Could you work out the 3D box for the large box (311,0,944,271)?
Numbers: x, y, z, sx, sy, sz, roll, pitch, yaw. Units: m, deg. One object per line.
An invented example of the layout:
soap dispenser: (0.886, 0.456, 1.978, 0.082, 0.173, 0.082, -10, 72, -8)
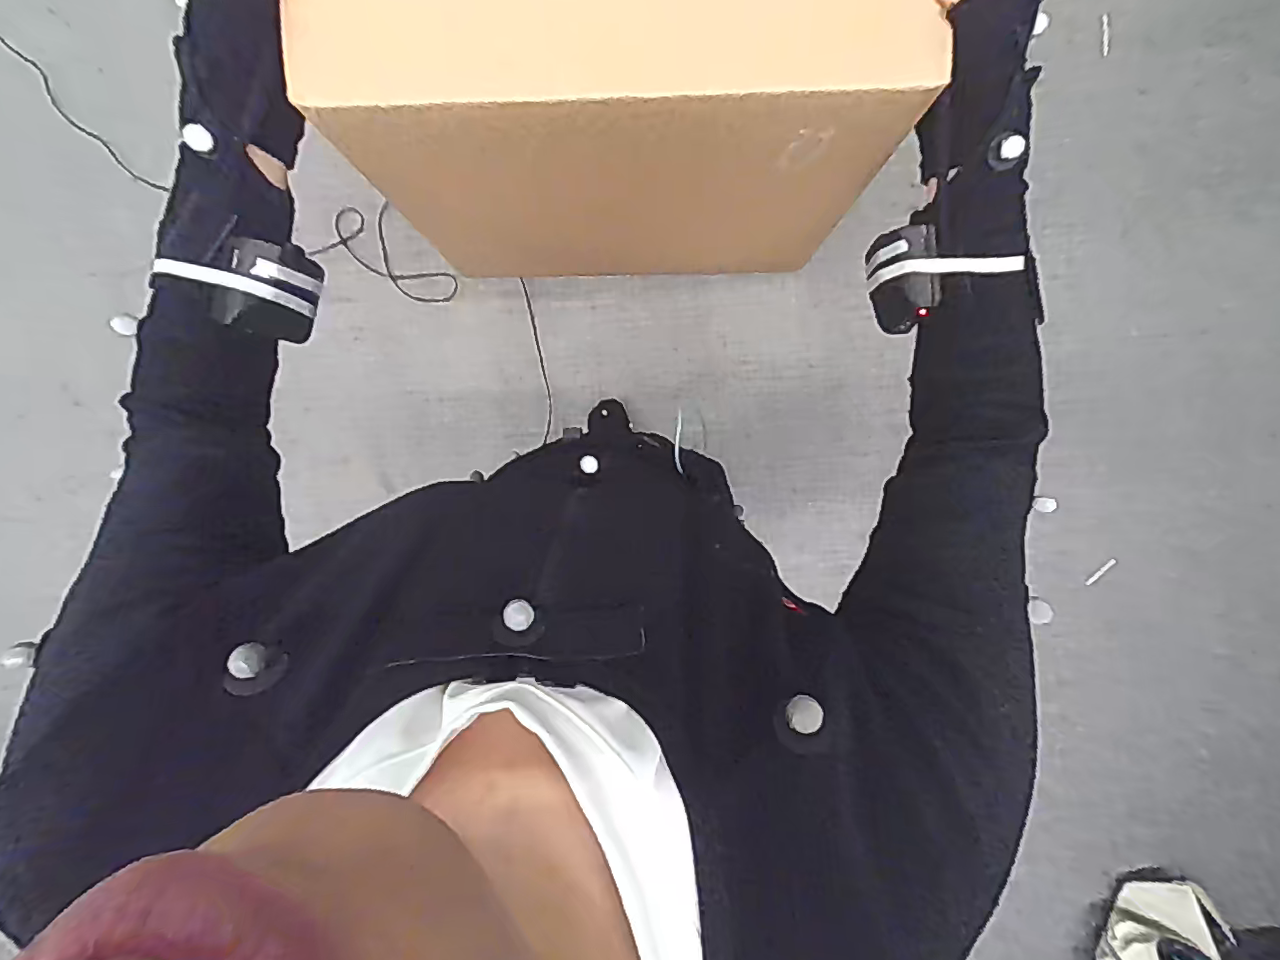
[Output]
large box: (-0.013, -0.401, 0.487, 0.408, 0.320, 0.320, -1, 92, 0)
